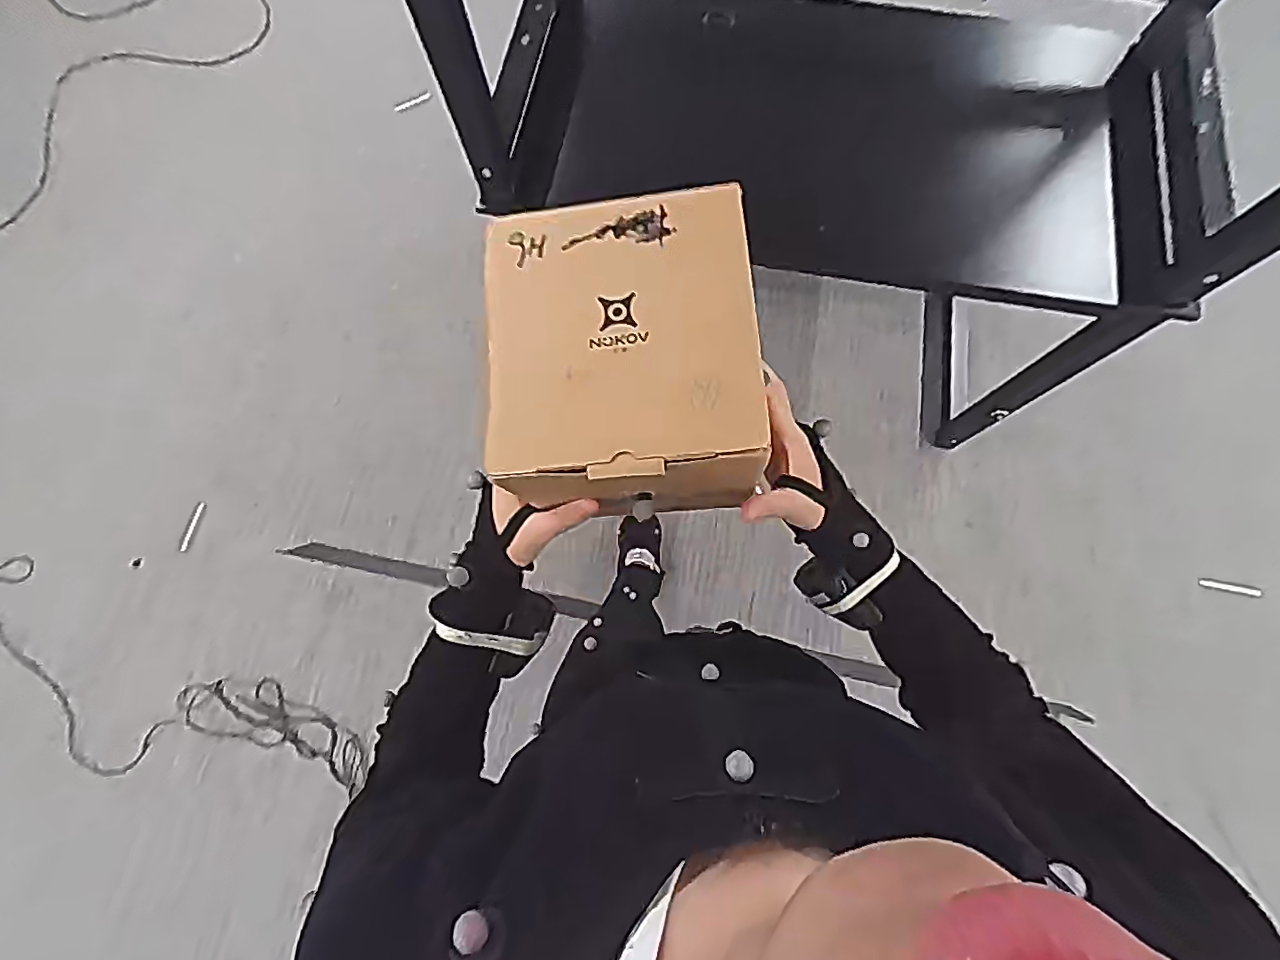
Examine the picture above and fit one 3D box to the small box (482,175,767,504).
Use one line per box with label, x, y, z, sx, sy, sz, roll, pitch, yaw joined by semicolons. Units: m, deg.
small box;-0.004;-0.079;0.396;0.168;0.176;0.179;-5;79;6
